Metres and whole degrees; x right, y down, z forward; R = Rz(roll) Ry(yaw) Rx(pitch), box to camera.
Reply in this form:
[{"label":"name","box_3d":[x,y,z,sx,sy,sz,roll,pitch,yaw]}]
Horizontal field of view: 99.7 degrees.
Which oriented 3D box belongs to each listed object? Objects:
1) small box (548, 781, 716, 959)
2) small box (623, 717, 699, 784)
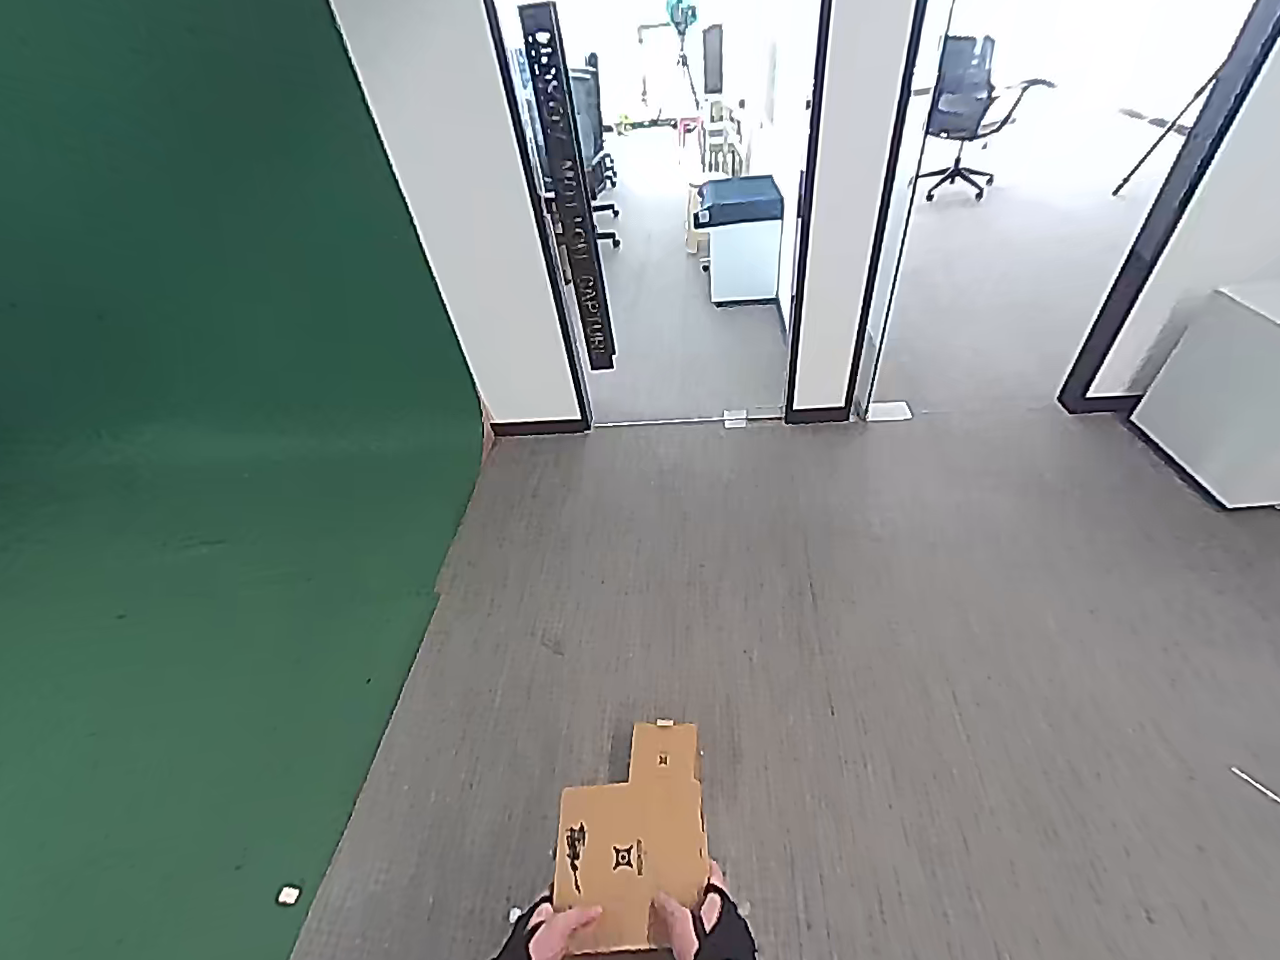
[{"label":"small box","box_3d":[-0.005,0.497,0.666,0.179,0.176,0.168,-4,36,1]},{"label":"small box","box_3d":[0.061,0.736,1.391,0.168,0.176,0.179,-1,44,11]}]
